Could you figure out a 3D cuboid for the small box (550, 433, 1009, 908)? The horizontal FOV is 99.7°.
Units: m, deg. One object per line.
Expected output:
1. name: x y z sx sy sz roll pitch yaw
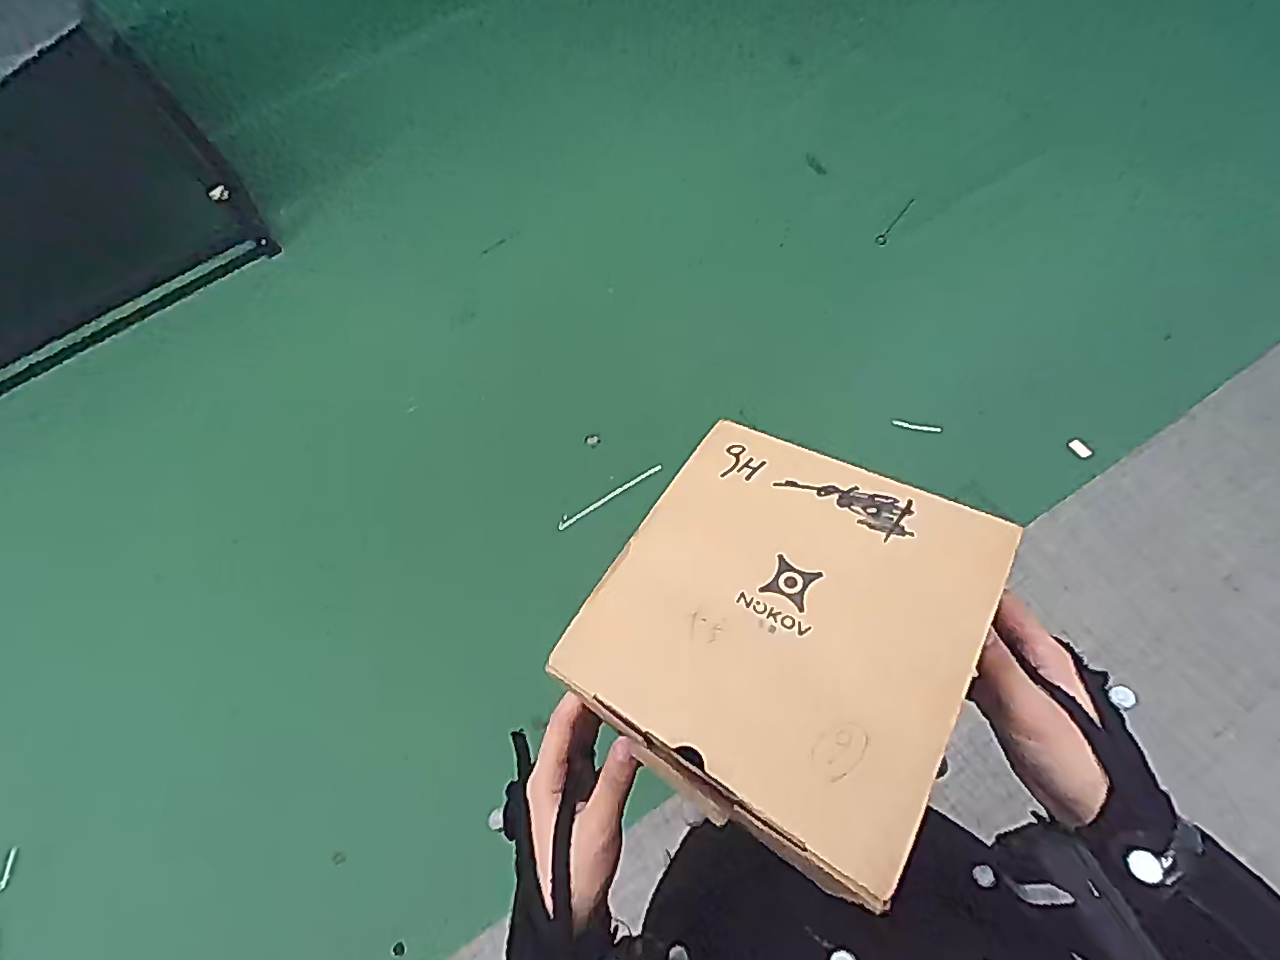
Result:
1. small box: 0.082 0.108 0.328 0.168 0.176 0.179 24 65 27
